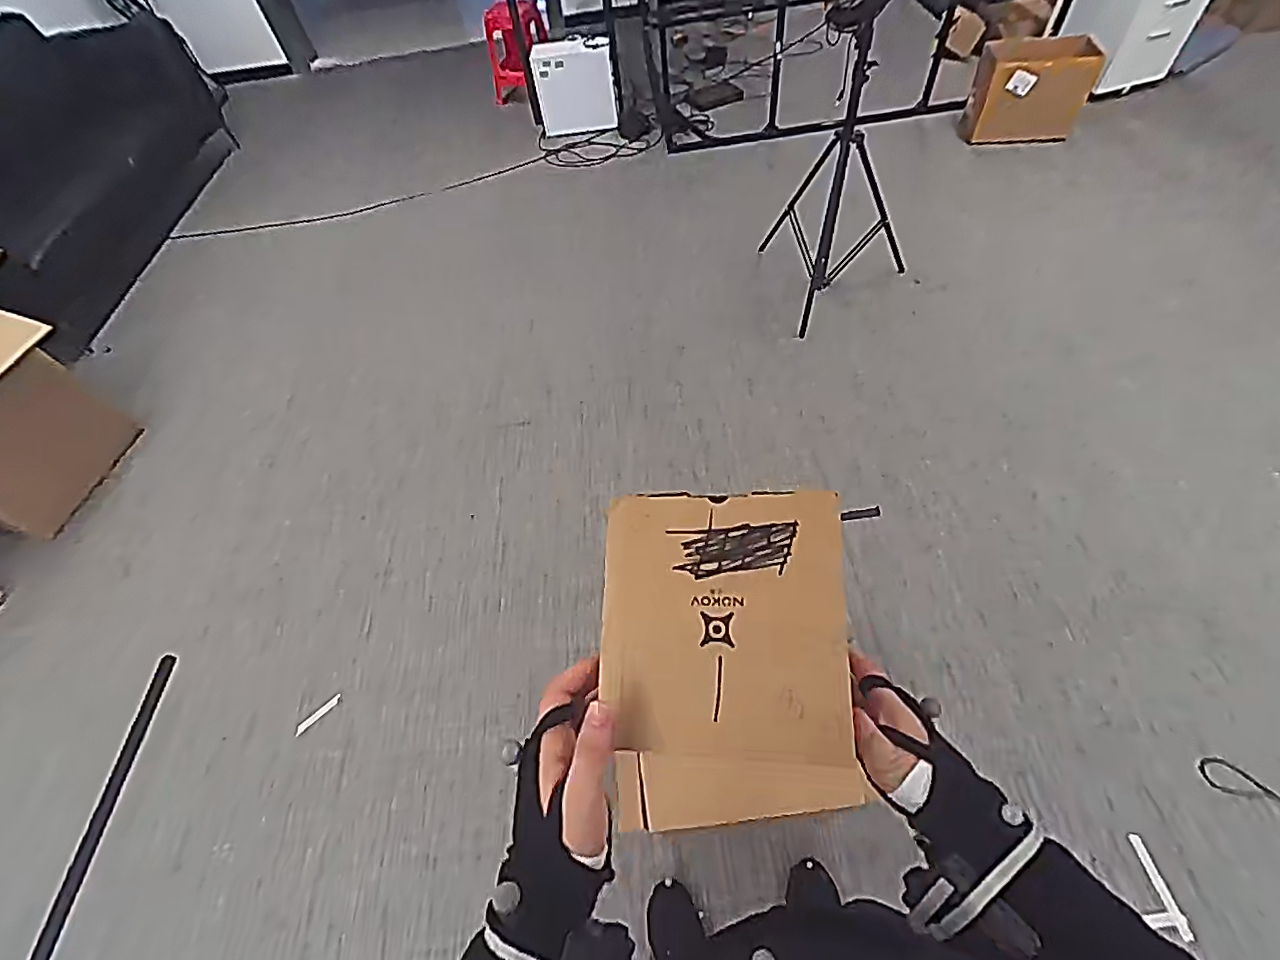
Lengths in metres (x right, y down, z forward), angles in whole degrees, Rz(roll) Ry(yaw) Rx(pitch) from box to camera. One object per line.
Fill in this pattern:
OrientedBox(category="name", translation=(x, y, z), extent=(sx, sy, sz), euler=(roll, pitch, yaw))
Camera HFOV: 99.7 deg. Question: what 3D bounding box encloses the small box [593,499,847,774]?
OrientedBox(category="small box", translation=(0.067, 0.120, 0.445), extent=(0.168, 0.176, 0.179), euler=(-1, 74, 12))
